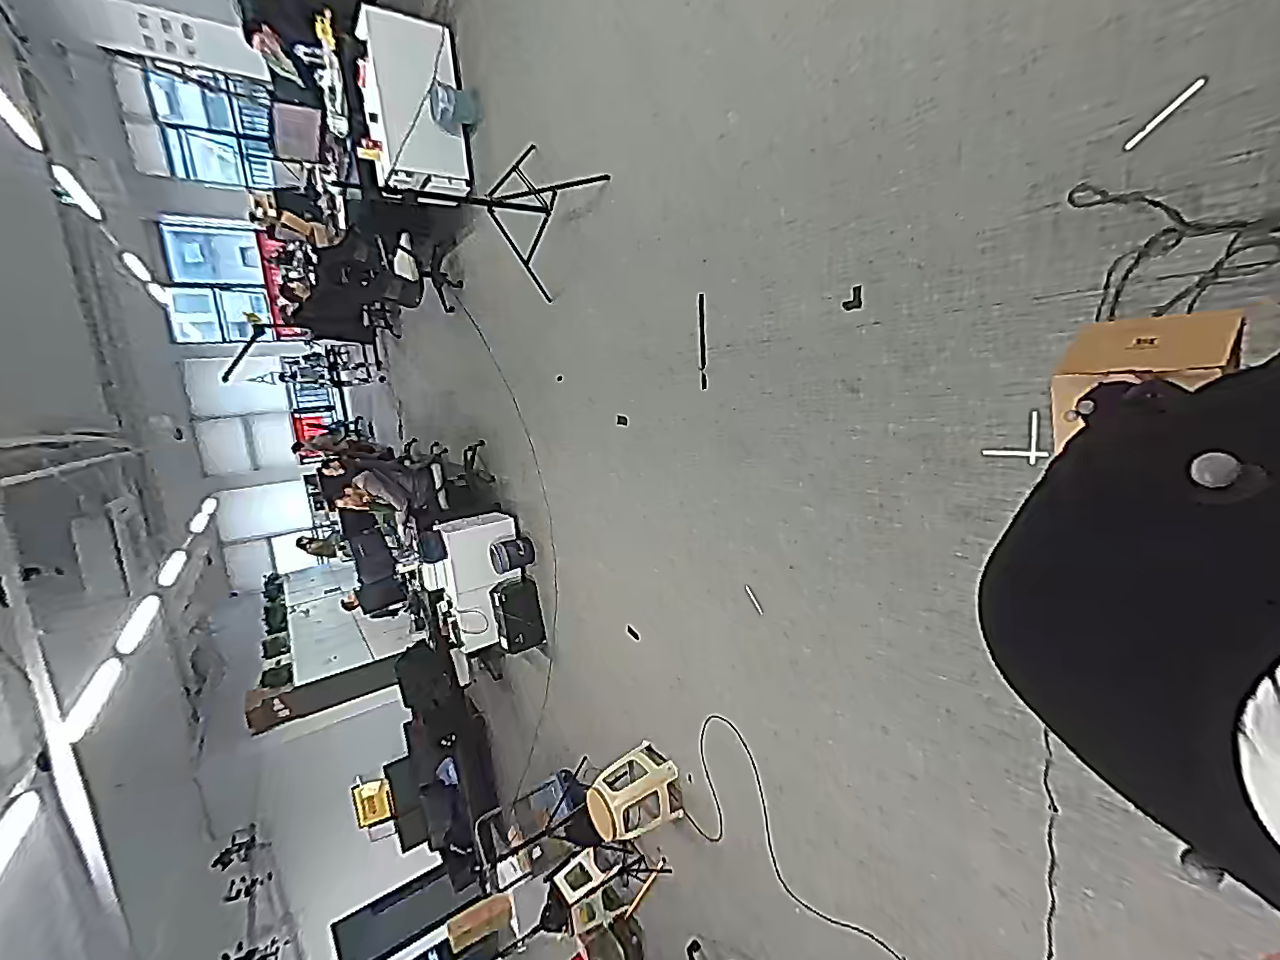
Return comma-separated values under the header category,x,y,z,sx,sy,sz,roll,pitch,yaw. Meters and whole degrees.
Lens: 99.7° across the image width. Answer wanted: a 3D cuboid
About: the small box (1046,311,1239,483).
category,x,y,z,sx,sy,sz,roll,pitch,yaw
small box,0.697,-0.114,0.755,0.168,0.179,0.176,11,132,50
